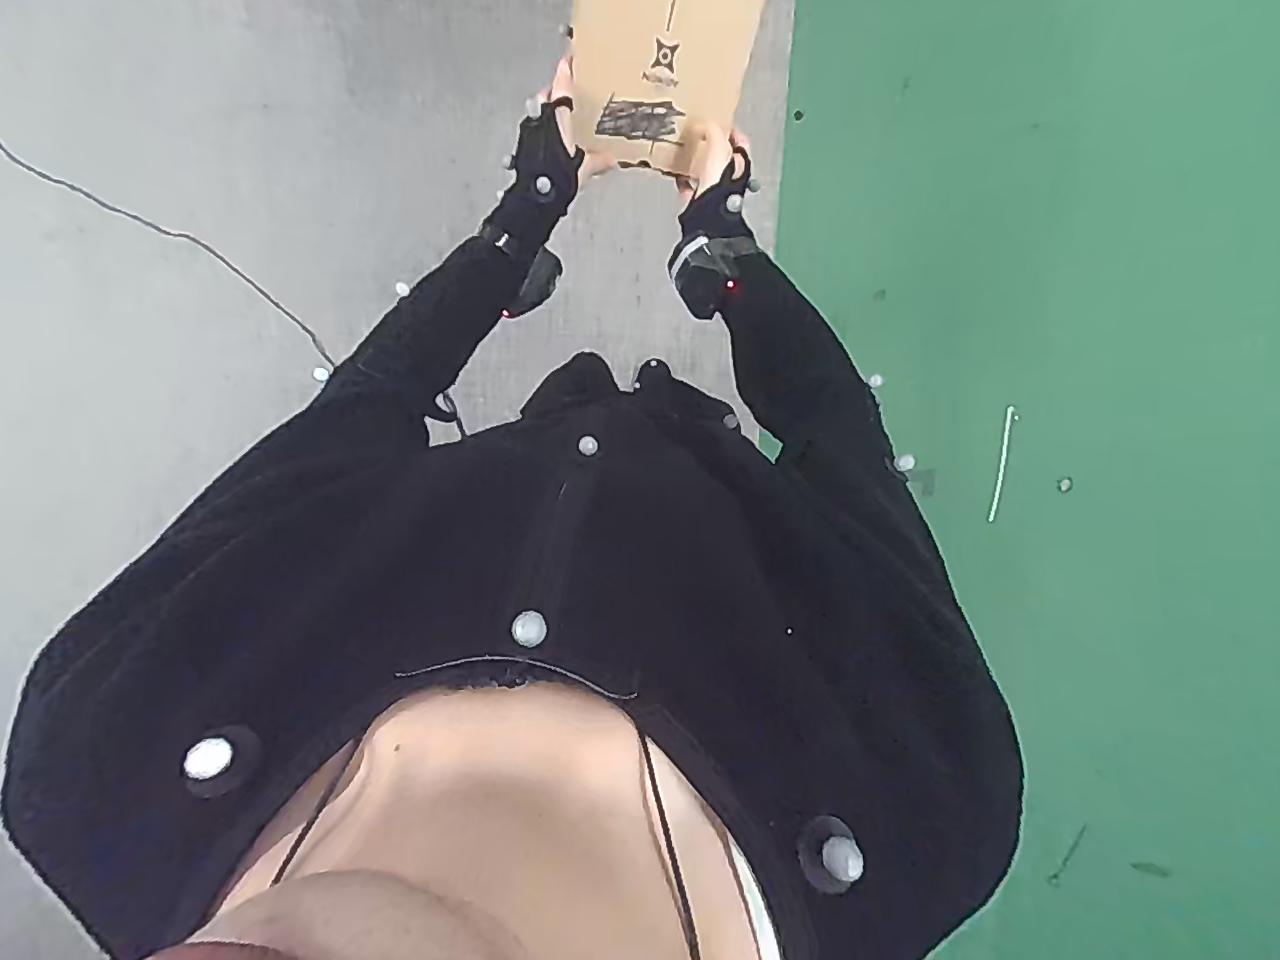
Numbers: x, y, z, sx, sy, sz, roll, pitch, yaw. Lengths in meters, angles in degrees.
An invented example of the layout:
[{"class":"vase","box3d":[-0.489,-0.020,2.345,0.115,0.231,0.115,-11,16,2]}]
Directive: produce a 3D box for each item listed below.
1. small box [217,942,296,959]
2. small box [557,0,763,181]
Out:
[{"class":"small box","box3d":[-0.787,1.058,1.051,0.168,0.176,0.179,10,100,1]},{"class":"small box","box3d":[0.007,-0.441,0.563,0.168,0.176,0.179,5,128,-14]}]
